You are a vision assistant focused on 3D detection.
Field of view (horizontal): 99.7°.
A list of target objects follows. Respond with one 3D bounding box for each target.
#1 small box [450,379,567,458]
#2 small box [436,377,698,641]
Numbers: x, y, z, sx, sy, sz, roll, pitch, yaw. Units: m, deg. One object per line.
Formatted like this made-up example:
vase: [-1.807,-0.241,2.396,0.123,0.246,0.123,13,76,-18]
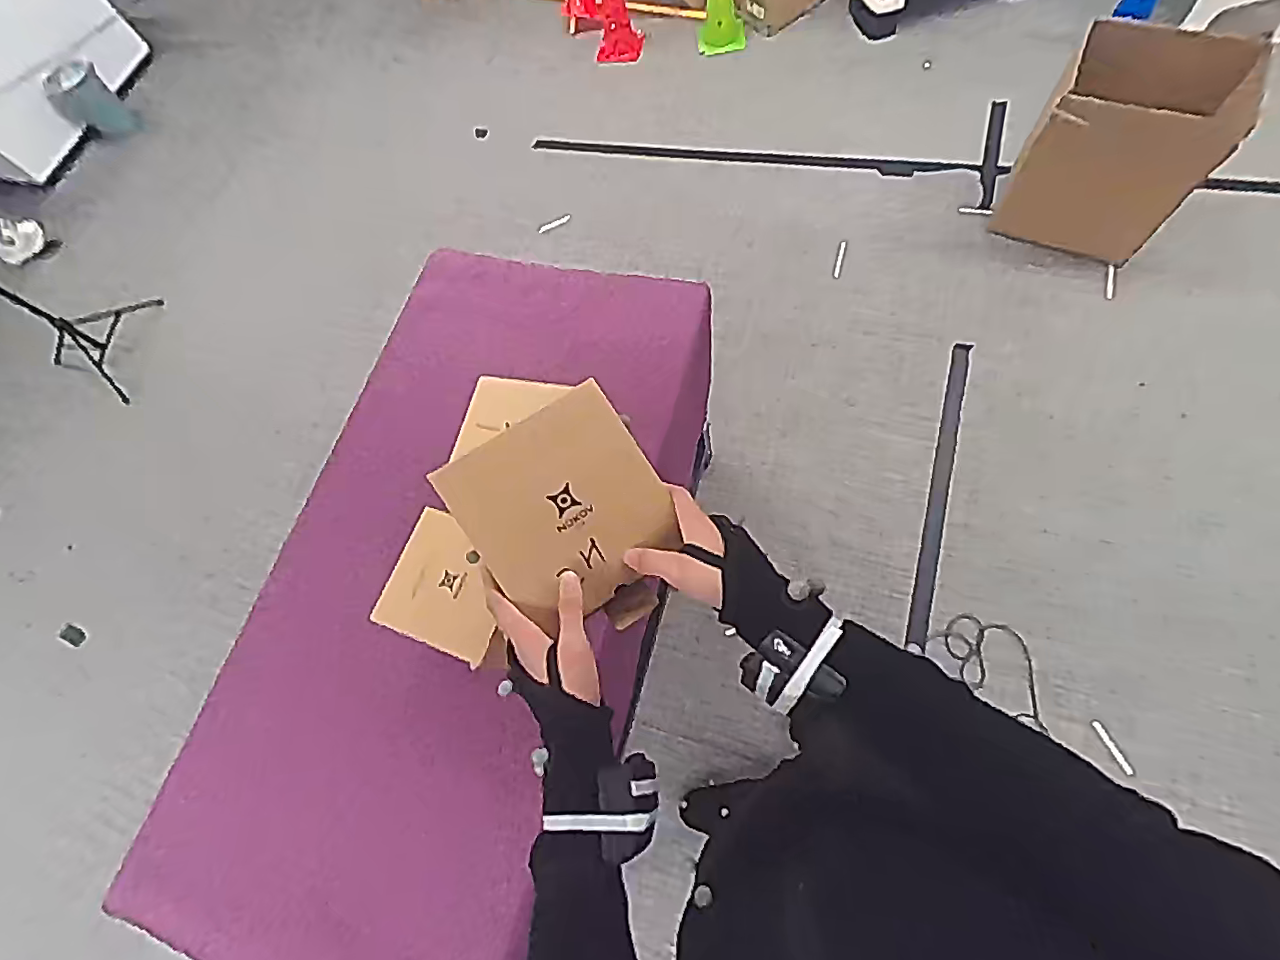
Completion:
small box: [-0.165,-0.037,0.842,0.179,0.176,0.168,8,71,15]
small box: [-0.074,0.030,0.540,0.168,0.176,0.179,-33,92,-12]
